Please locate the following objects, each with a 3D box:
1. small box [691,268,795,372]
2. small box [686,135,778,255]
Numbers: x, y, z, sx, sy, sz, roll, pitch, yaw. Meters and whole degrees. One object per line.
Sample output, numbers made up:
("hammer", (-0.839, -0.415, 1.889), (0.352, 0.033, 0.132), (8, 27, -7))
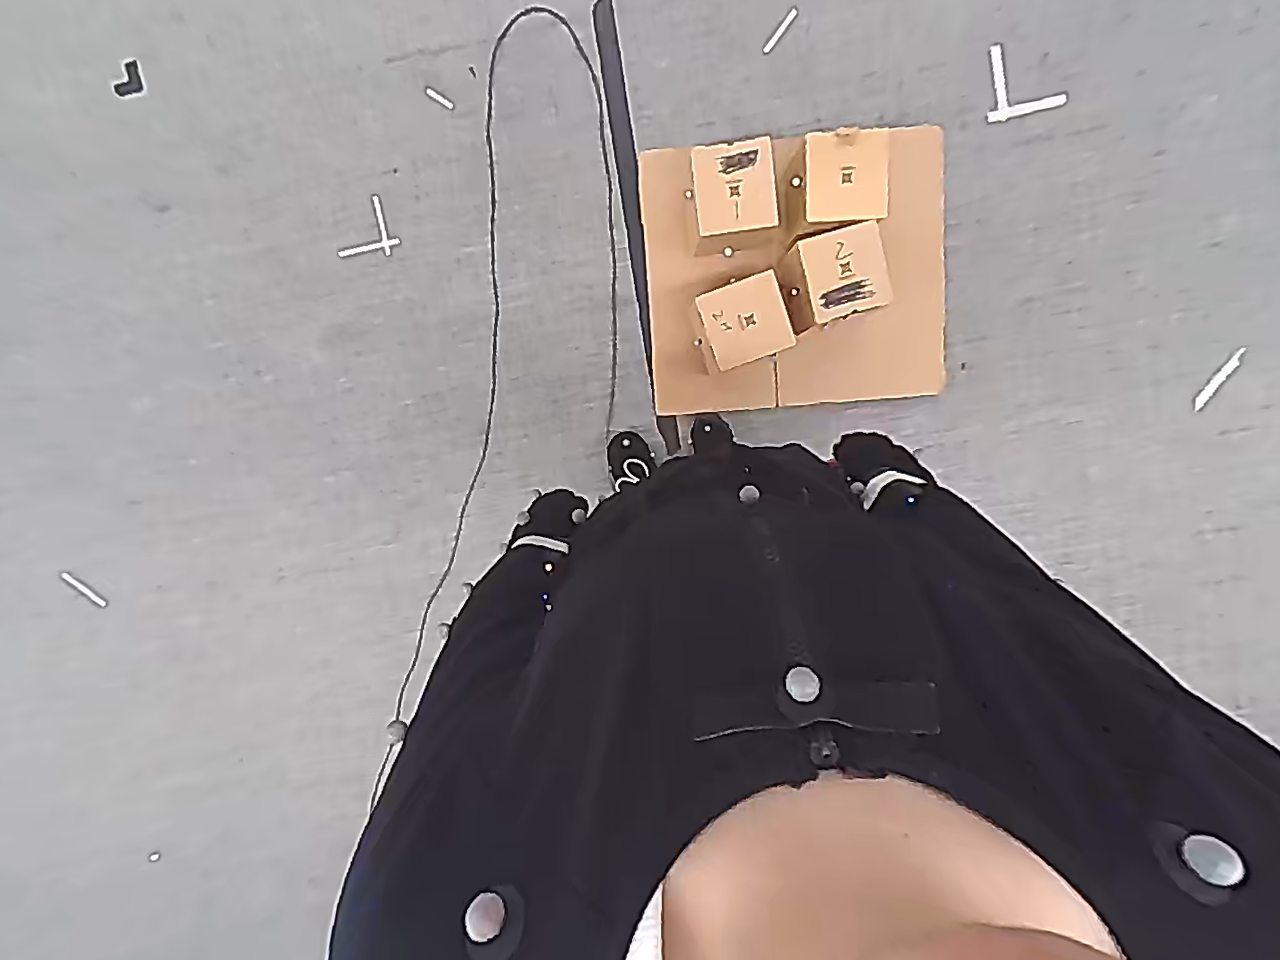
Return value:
("small box", (0.224, -0.352, 1.219), (0.179, 0.176, 0.168), (-19, 96, 4))
("small box", (0.195, -0.615, 1.185), (0.168, 0.176, 0.179), (-7, 98, 2))
